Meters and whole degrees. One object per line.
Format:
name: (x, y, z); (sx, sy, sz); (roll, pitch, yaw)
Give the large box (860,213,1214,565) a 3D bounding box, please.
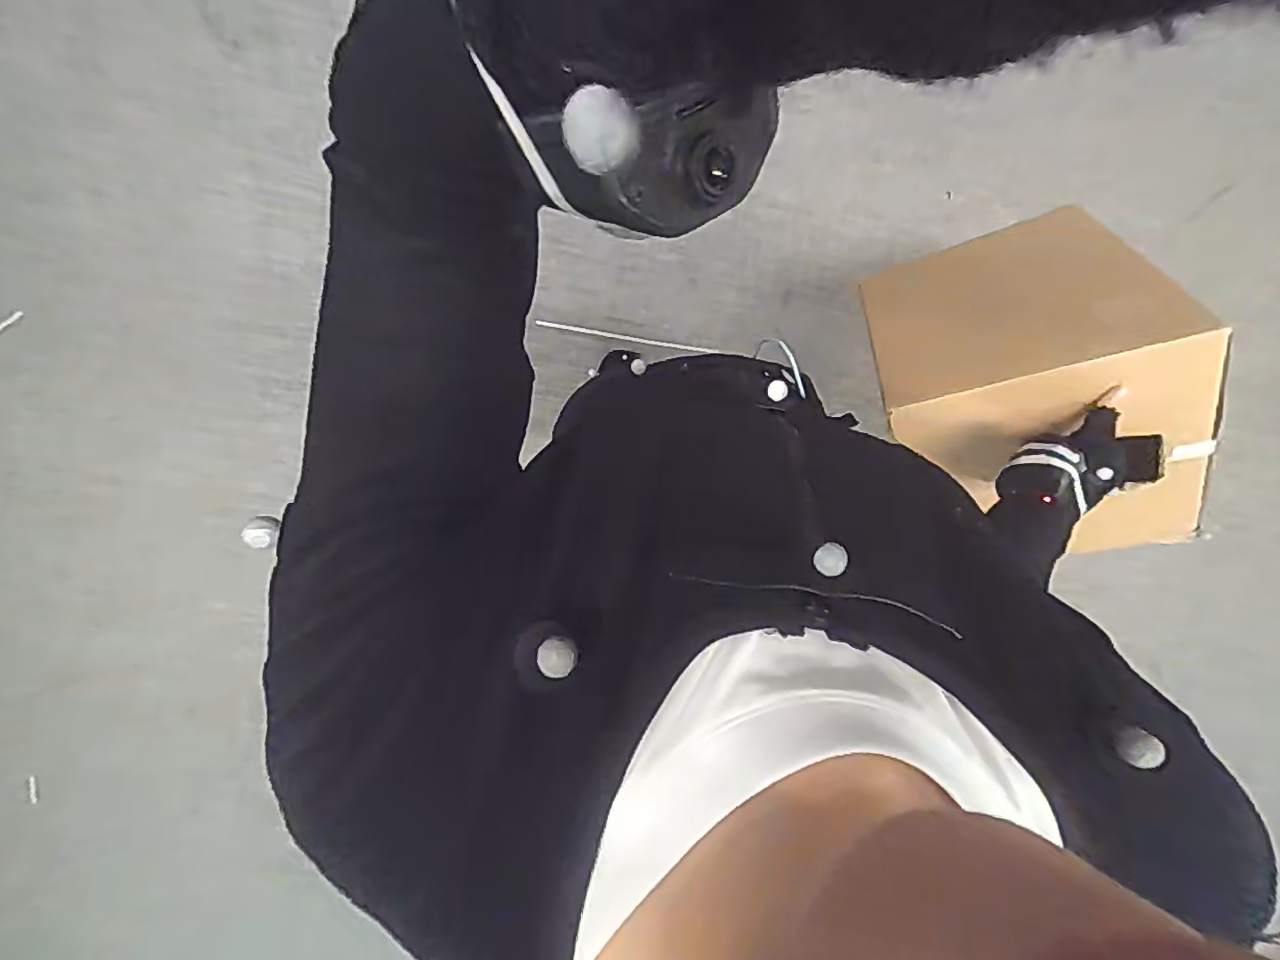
large box: (0.527, -0.131, 0.808); (0.320, 0.408, 0.320); (-11, 127, 27)
